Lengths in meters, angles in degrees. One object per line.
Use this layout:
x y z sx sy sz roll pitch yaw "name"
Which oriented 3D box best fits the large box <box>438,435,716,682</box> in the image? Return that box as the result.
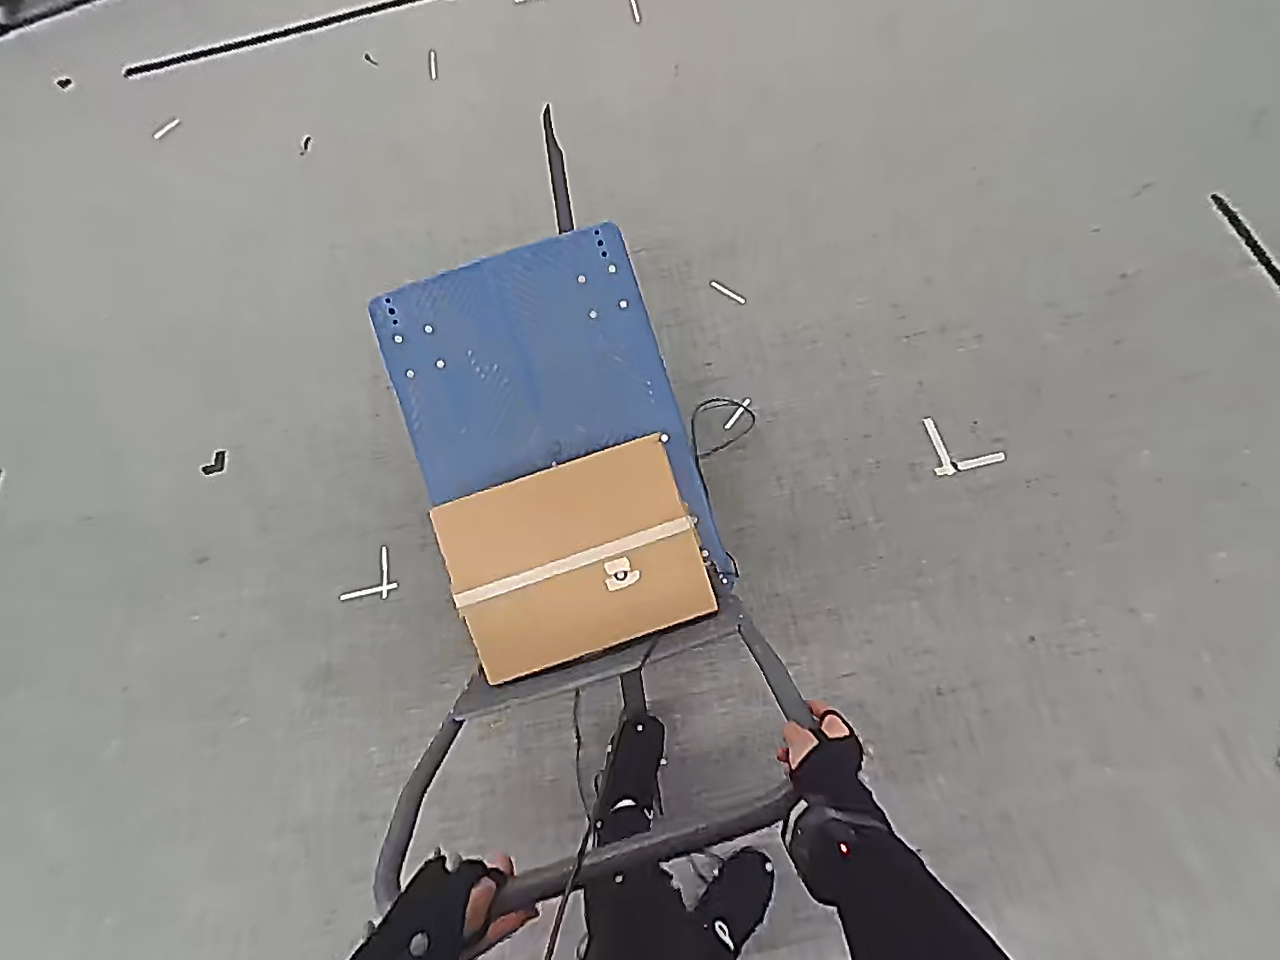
-0.109 0.132 1.056 0.408 0.320 0.320 -19 92 -1 "large box"
